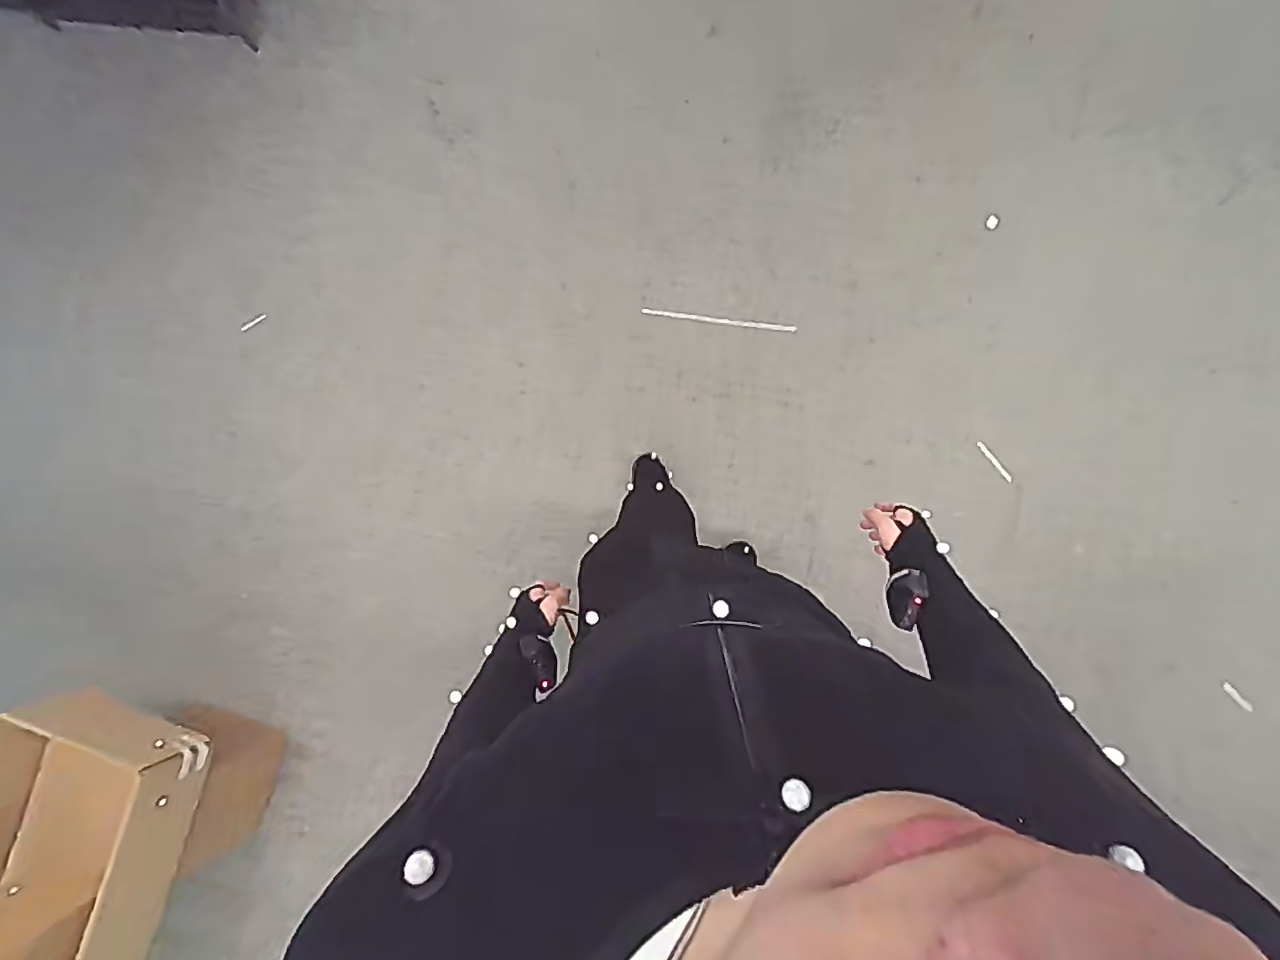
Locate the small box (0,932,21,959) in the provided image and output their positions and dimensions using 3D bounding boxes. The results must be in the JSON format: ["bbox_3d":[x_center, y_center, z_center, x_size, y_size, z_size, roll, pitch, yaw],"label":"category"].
[{"bbox_3d":[-1.394,1.003,1.048,0.179,0.176,0.168,18,88,5],"label":"small box"}]
